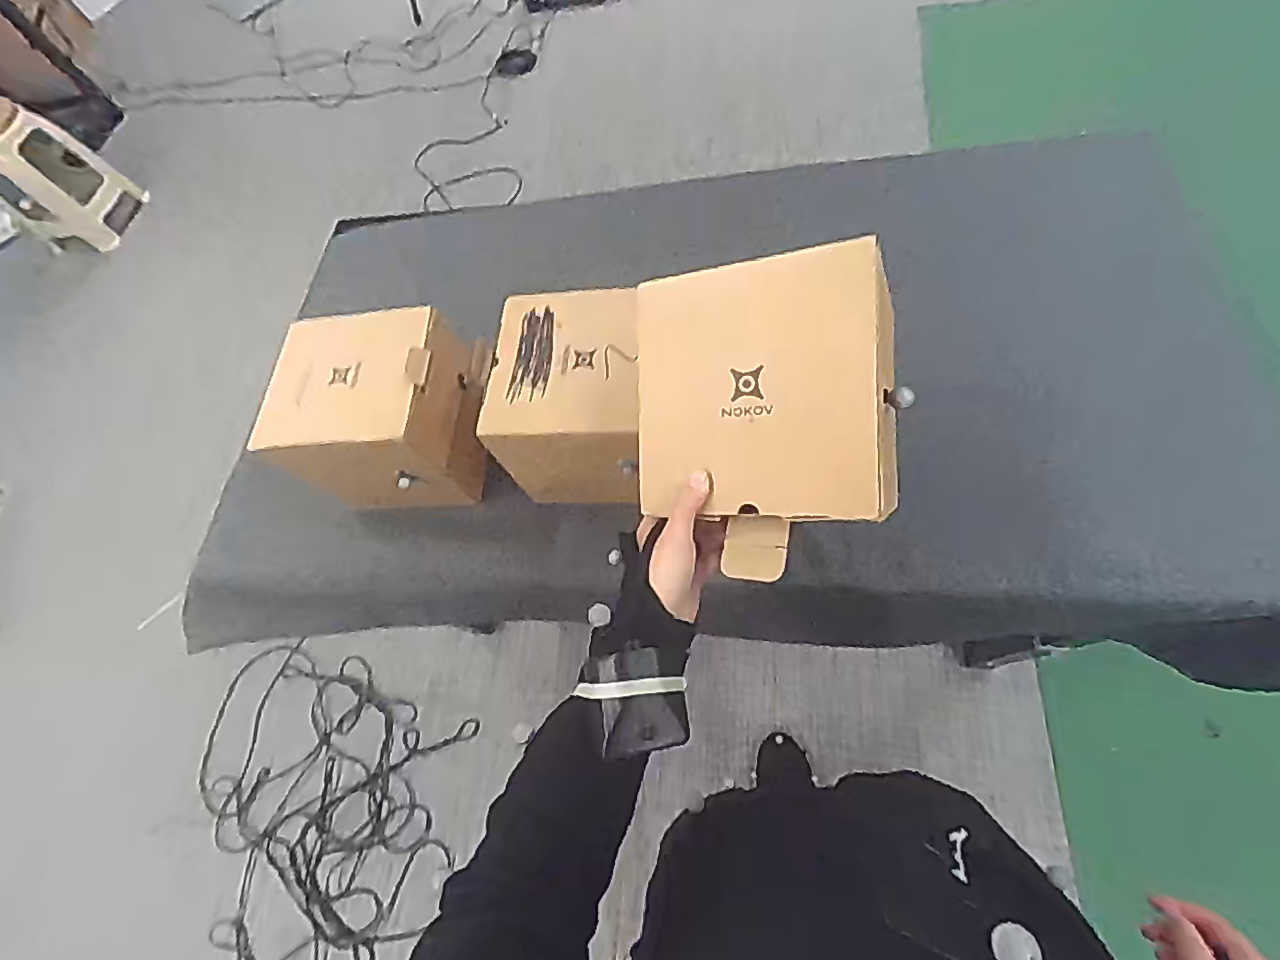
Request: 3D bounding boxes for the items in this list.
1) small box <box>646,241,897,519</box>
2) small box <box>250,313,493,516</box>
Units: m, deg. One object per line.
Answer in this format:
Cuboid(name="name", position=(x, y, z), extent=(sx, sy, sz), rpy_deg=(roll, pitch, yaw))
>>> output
Cuboid(name="small box", position=(0.114, -0.060, 0.438), extent=(0.168, 0.176, 0.179), rpy_deg=(-2, 89, 27))
Cuboid(name="small box", position=(-0.289, -0.066, 0.630), extent=(0.179, 0.176, 0.168), rpy_deg=(-4, 63, 9))
